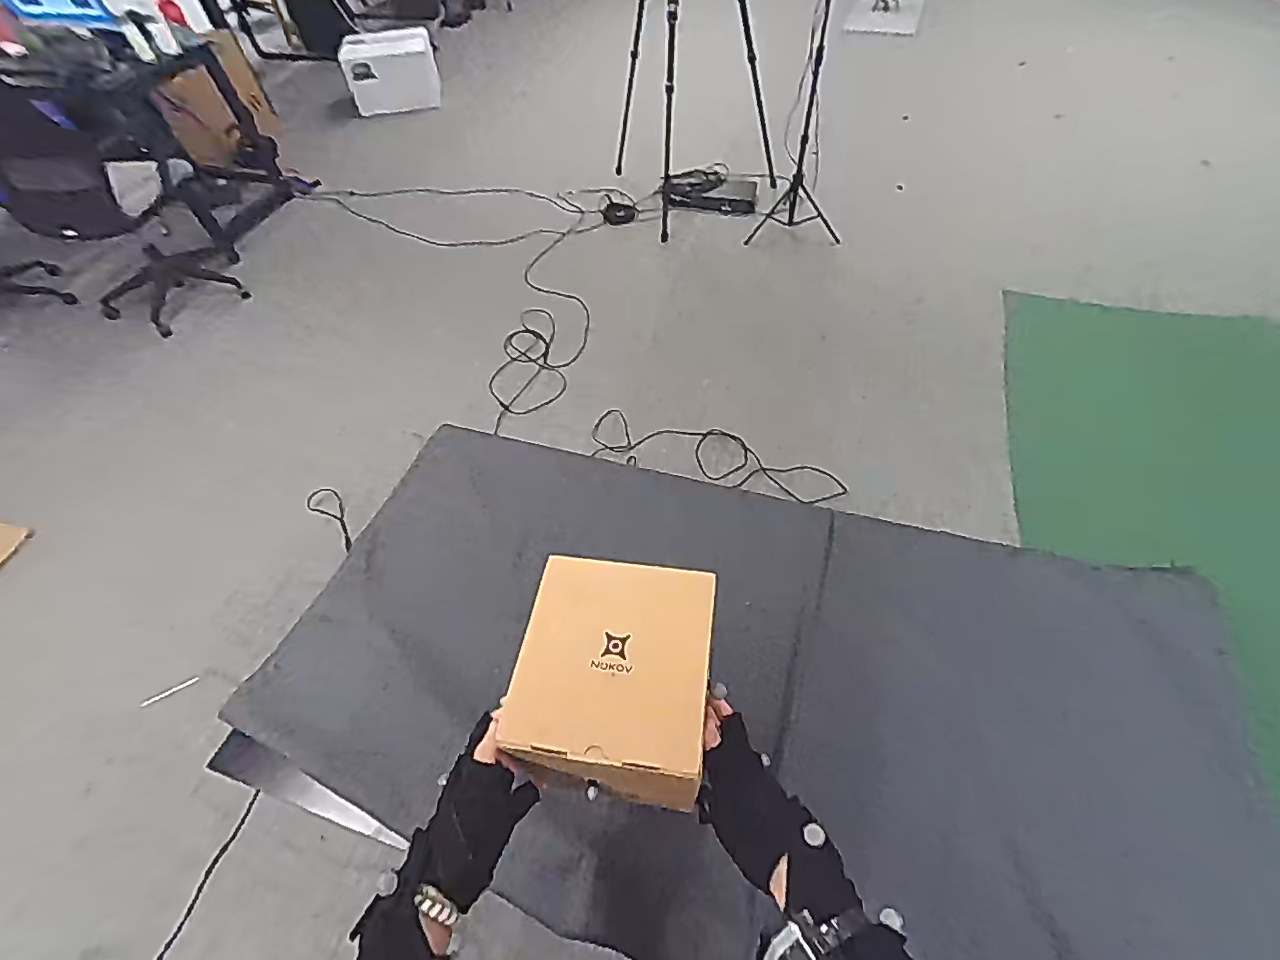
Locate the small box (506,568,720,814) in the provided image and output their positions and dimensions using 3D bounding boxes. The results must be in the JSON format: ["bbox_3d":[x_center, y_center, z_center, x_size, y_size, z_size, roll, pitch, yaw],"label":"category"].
[{"bbox_3d":[-0.014,0.213,0.544,0.168,0.176,0.179,6,53,8],"label":"small box"}]
